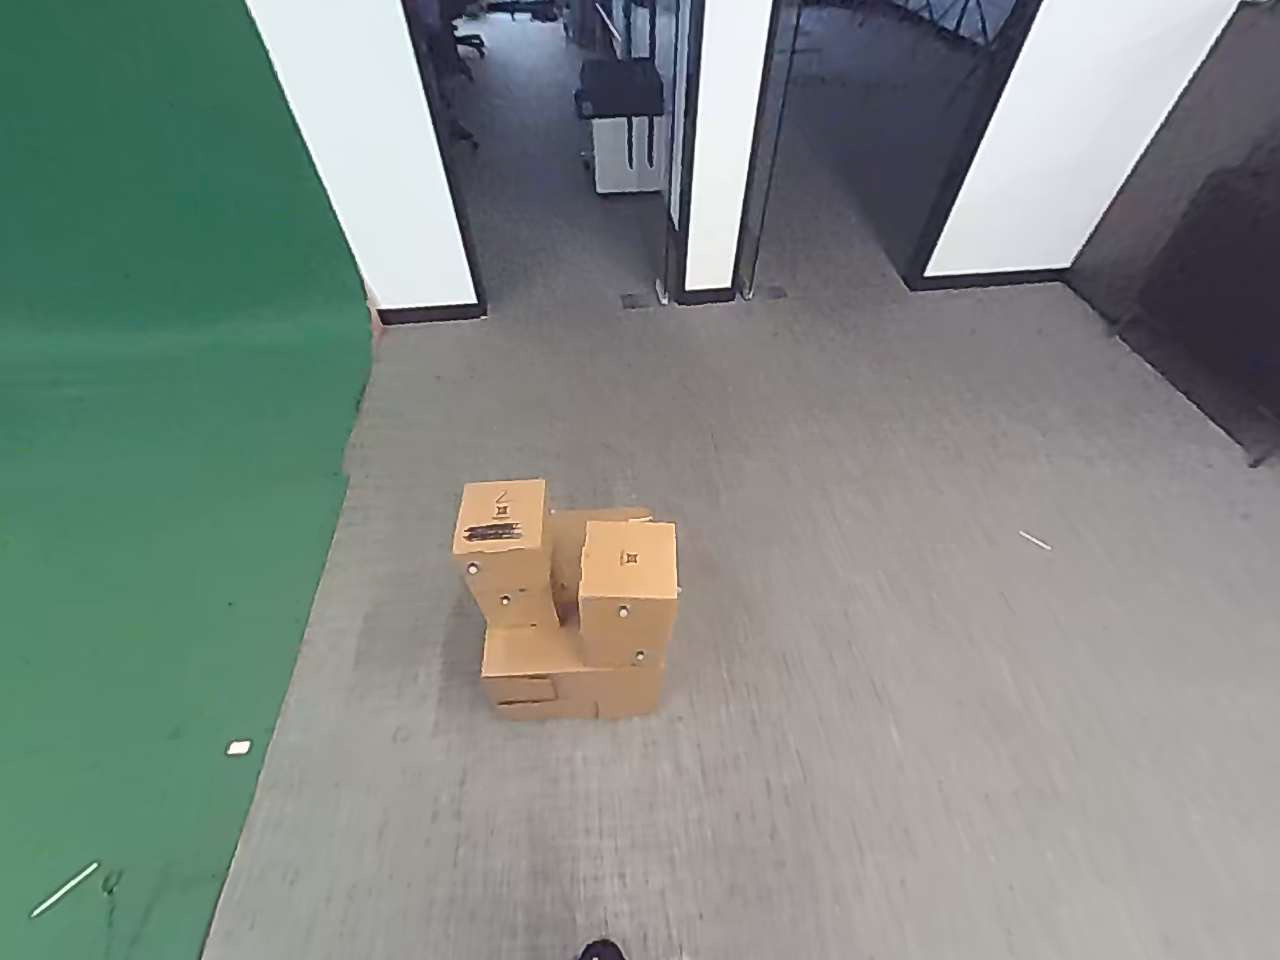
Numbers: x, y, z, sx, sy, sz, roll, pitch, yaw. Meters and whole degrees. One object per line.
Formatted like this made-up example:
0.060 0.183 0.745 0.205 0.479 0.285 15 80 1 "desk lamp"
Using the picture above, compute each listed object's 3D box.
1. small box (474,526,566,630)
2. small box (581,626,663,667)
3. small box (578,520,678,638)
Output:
-0.264 0.224 1.240 0.168 0.176 0.179 -1 48 1 "small box"
-0.035 0.295 1.178 0.168 0.176 0.179 1 48 -1 "small box"
-0.022 0.195 1.050 0.179 0.176 0.168 1 49 0 "small box"
